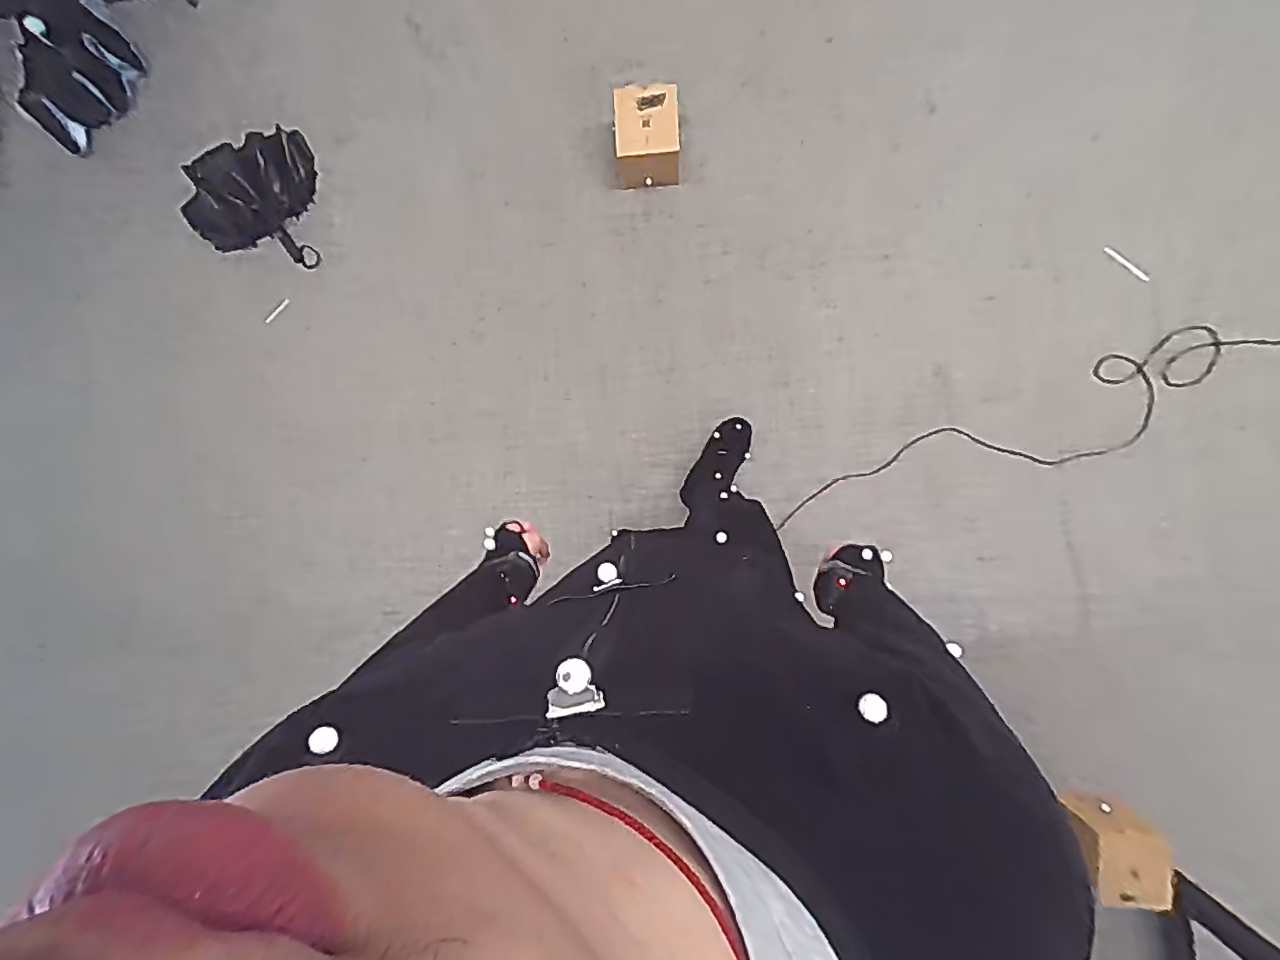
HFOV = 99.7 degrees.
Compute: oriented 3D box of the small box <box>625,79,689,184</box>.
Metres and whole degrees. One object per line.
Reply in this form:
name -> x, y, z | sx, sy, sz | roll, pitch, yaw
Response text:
small box -> 0.049, -0.937, 1.465 | 0.168, 0.176, 0.179 | -1, 90, 6
